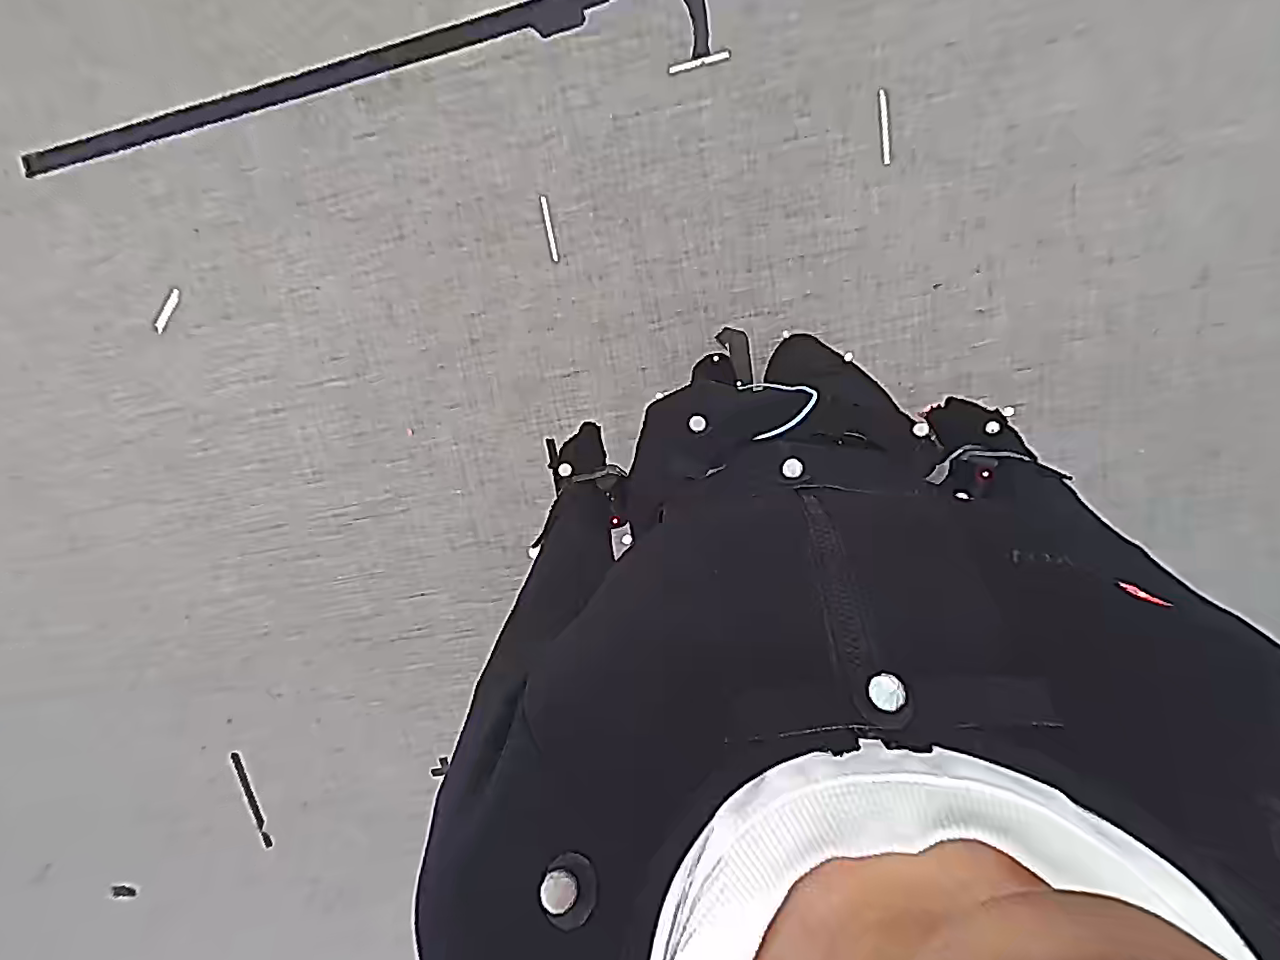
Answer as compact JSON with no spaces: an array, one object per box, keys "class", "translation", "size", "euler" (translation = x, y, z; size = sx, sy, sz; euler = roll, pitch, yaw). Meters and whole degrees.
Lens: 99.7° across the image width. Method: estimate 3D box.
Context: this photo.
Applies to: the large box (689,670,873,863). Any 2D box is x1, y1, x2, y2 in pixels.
[{"class":"large box","translation":[0.363,0.767,1.481],"size":[0.408,0.320,0.320],"euler":[-12,104,7]}]
